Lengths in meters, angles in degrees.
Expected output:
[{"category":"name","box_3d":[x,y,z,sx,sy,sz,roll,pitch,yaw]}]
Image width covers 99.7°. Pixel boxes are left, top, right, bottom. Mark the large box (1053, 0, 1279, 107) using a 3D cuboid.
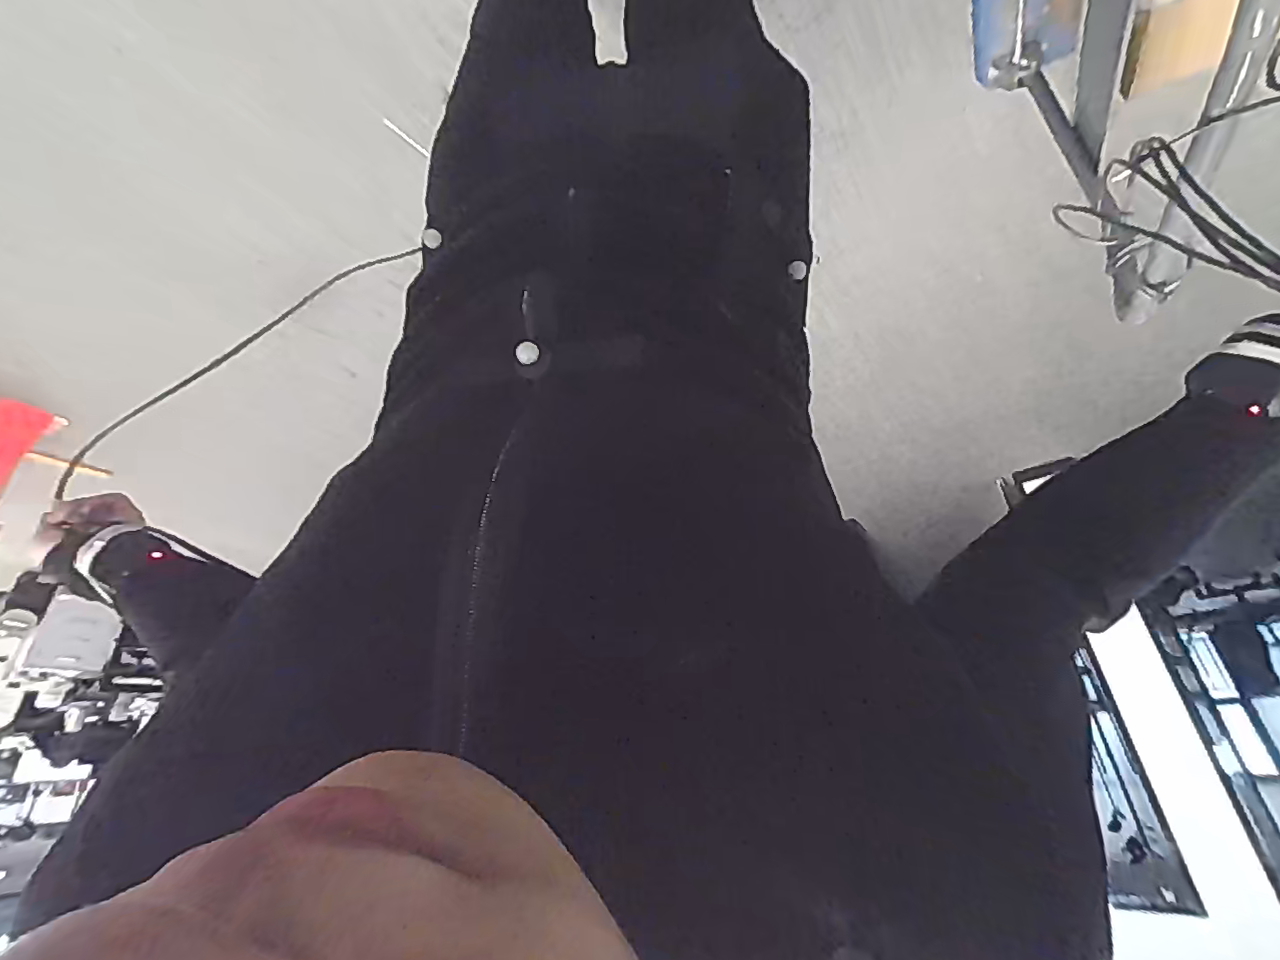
[{"category":"large box","box_3d":[0.847,-0.822,0.714,0.408,0.320,0.320,-17,149,24]}]
